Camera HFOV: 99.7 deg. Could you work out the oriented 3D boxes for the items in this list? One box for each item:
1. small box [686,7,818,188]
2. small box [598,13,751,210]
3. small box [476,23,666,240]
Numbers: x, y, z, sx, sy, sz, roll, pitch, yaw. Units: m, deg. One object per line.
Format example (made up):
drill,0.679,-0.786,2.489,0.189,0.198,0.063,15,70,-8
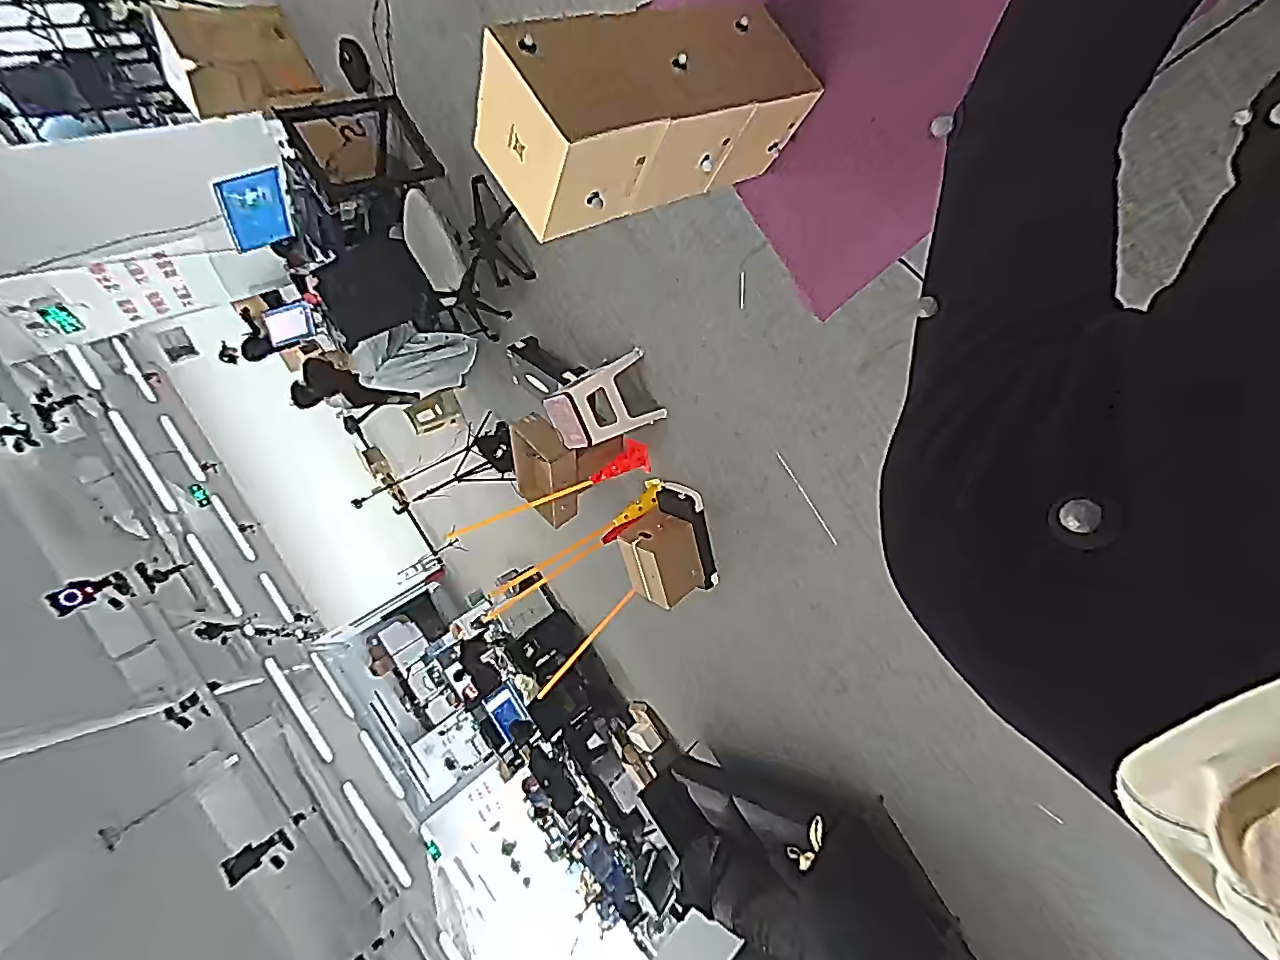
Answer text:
small box,0.148,-0.619,0.880,0.179,0.176,0.168,56,152,2
small box,0.026,-0.543,0.801,0.179,0.176,0.168,56,152,3
small box,-0.094,-0.466,0.724,0.179,0.176,0.168,56,152,4
